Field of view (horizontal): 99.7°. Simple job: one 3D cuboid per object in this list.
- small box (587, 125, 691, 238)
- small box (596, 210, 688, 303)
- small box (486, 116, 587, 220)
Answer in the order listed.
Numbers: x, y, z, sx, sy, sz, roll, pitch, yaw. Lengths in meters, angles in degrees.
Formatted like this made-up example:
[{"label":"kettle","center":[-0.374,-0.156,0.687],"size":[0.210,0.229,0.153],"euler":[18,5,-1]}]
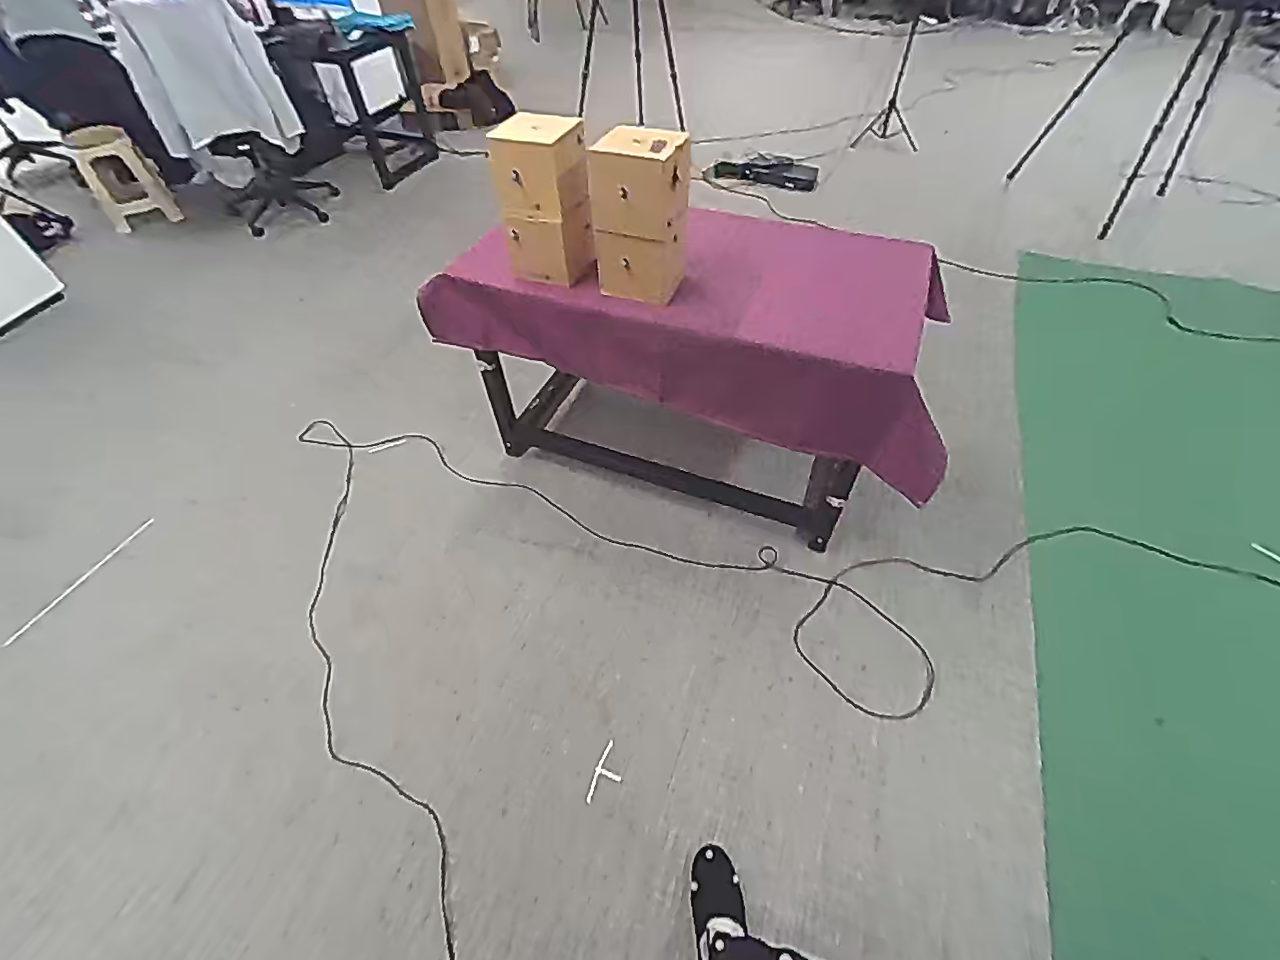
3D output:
[{"label":"small box","center":[0.004,-0.659,1.201],"size":[0.179,0.176,0.168],"euler":[17,52,16]},{"label":"small box","center":[0.010,-0.557,1.330],"size":[0.179,0.176,0.168],"euler":[15,53,15]},{"label":"small box","center":[-0.233,-0.737,1.280],"size":[0.168,0.176,0.179],"euler":[13,51,13]}]
